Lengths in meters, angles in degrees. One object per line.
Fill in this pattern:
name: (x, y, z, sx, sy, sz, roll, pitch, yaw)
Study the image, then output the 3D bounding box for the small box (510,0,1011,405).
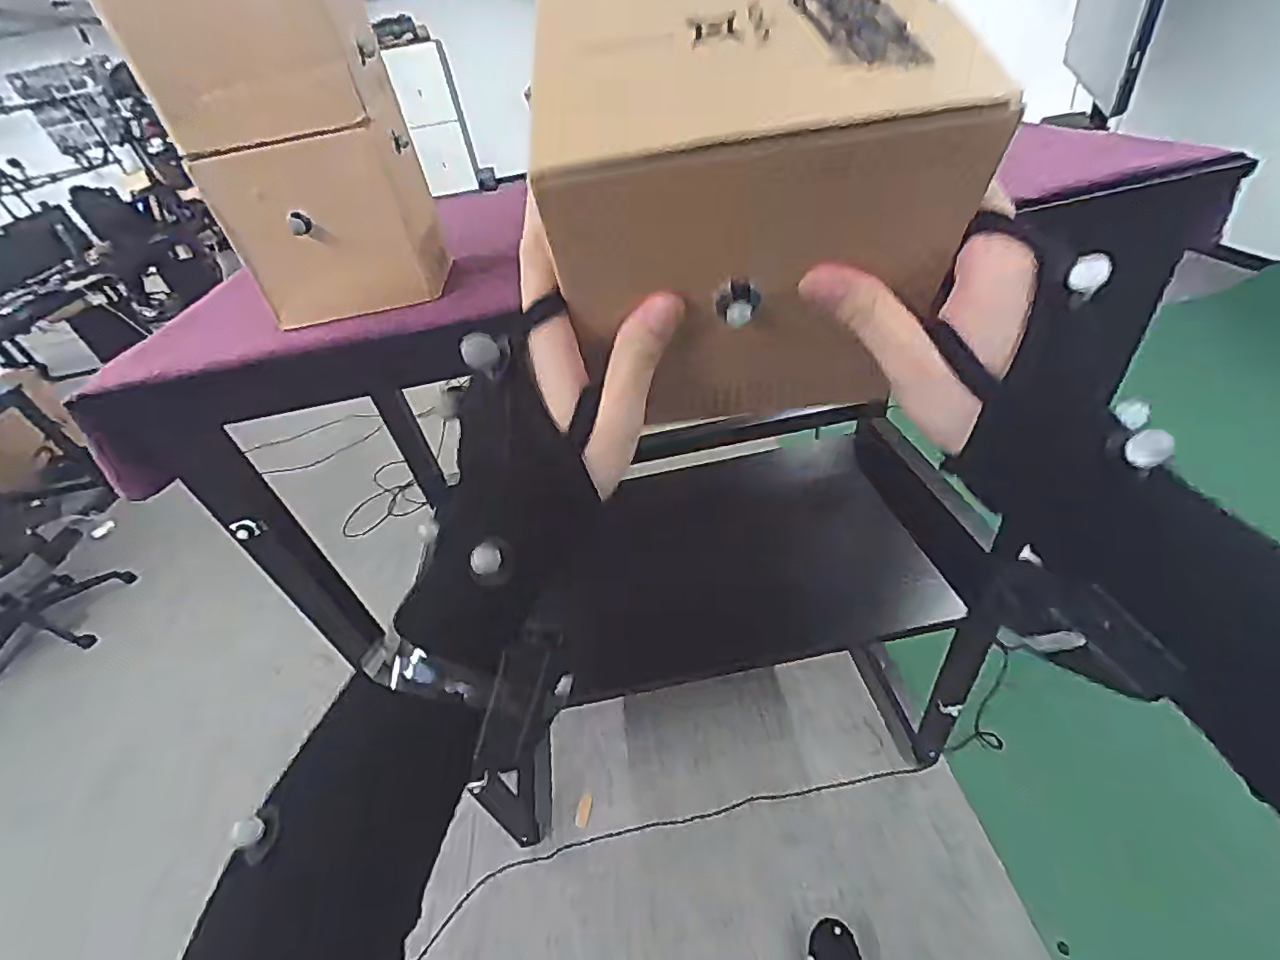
small box: (0.044, -0.160, 0.293, 0.179, 0.176, 0.168, -7, 61, 4)

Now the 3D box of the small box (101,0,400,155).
small box: (-0.356, -0.418, 0.504, 0.179, 0.176, 0.168, -12, 38, -3)

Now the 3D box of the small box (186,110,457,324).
small box: (-0.328, -0.291, 0.603, 0.179, 0.176, 0.168, -14, 39, -1)
